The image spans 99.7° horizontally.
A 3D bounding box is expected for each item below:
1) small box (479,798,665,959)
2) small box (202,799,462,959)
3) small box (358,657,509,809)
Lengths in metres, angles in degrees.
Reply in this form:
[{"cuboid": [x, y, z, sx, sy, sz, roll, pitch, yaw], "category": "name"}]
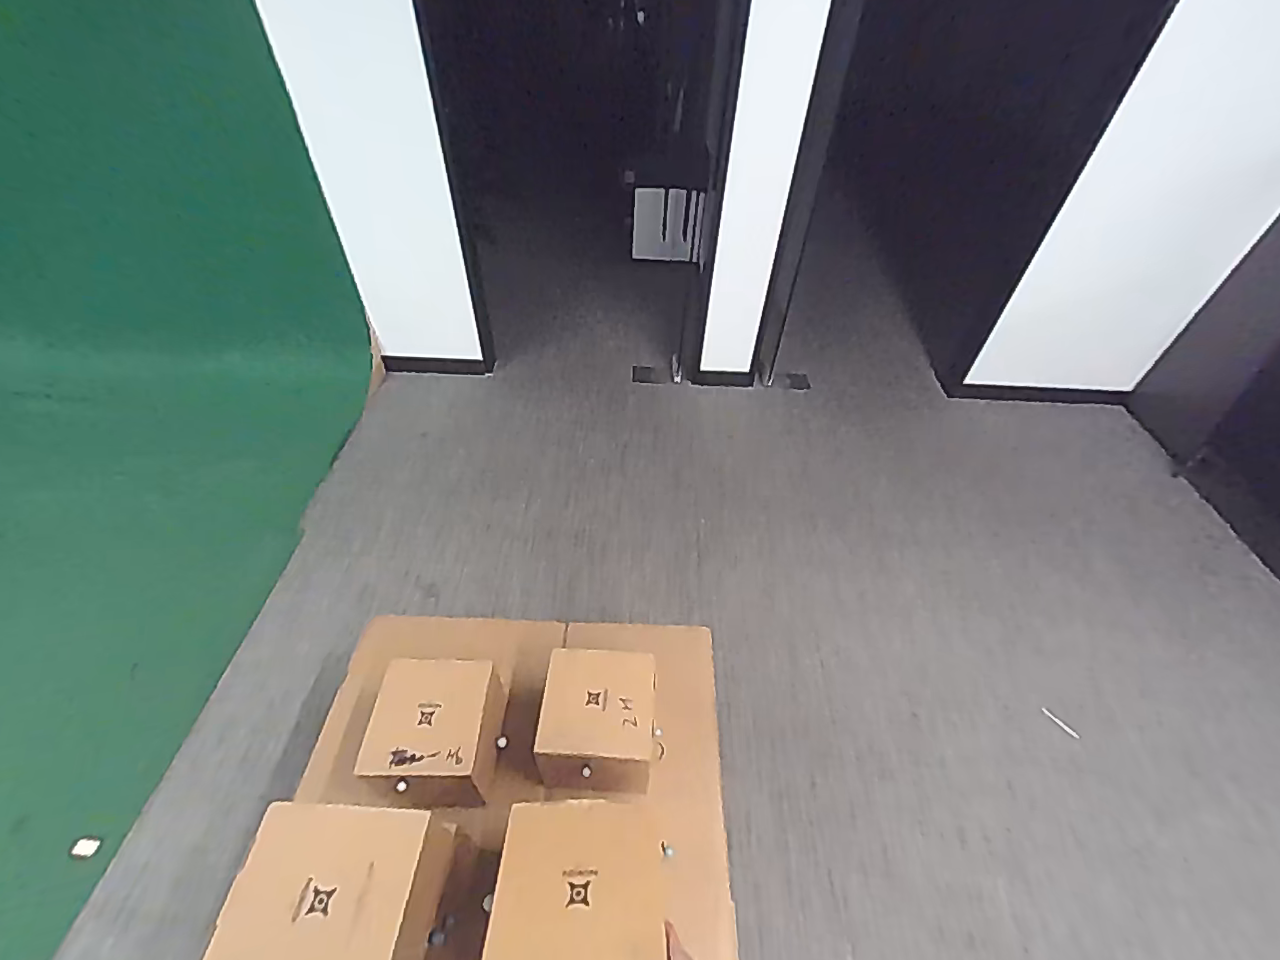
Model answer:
[{"cuboid": [-0.058, 0.467, 0.559, 0.168, 0.176, 0.179, -1, 26, 0], "category": "small box"}, {"cuboid": [-0.315, 0.465, 0.586, 0.179, 0.176, 0.168, 4, 47, 1], "category": "small box"}, {"cuboid": [-0.315, 0.406, 0.870, 0.168, 0.176, 0.179, 0, 45, 0], "category": "small box"}]
